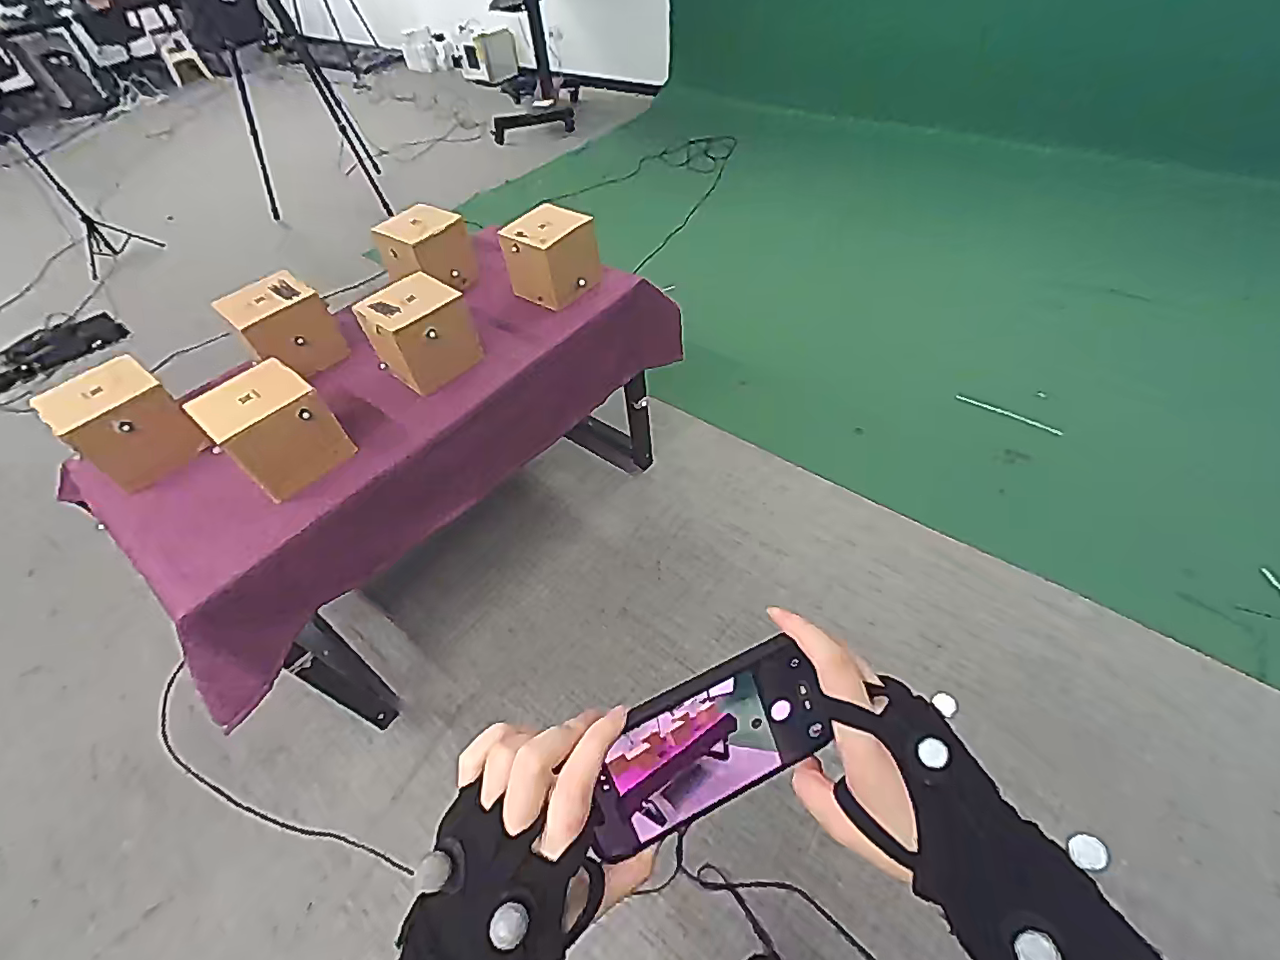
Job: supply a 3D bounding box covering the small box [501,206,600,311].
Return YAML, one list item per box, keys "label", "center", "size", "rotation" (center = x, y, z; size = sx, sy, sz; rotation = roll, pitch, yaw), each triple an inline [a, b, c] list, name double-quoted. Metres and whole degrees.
- label: "small box"
  center: [-0.216, -0.558, 1.366]
  size: [0.168, 0.176, 0.179]
  rotation: [29, 59, 27]

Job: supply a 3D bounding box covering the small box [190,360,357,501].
- label: "small box"
  center: [-0.686, -0.092, 1.030]
  size: [0.168, 0.176, 0.179]
  rotation: [31, 59, 28]

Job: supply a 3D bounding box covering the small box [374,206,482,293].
- label: "small box"
  center: [-0.553, -0.593, 1.430]
  size: [0.179, 0.176, 0.168]
  rotation: [28, 59, 25]

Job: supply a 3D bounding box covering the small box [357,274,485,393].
- label: "small box"
  center: [-0.477, -0.321, 1.198]
  size: [0.168, 0.176, 0.179]
  rotation: [33, 60, 28]
